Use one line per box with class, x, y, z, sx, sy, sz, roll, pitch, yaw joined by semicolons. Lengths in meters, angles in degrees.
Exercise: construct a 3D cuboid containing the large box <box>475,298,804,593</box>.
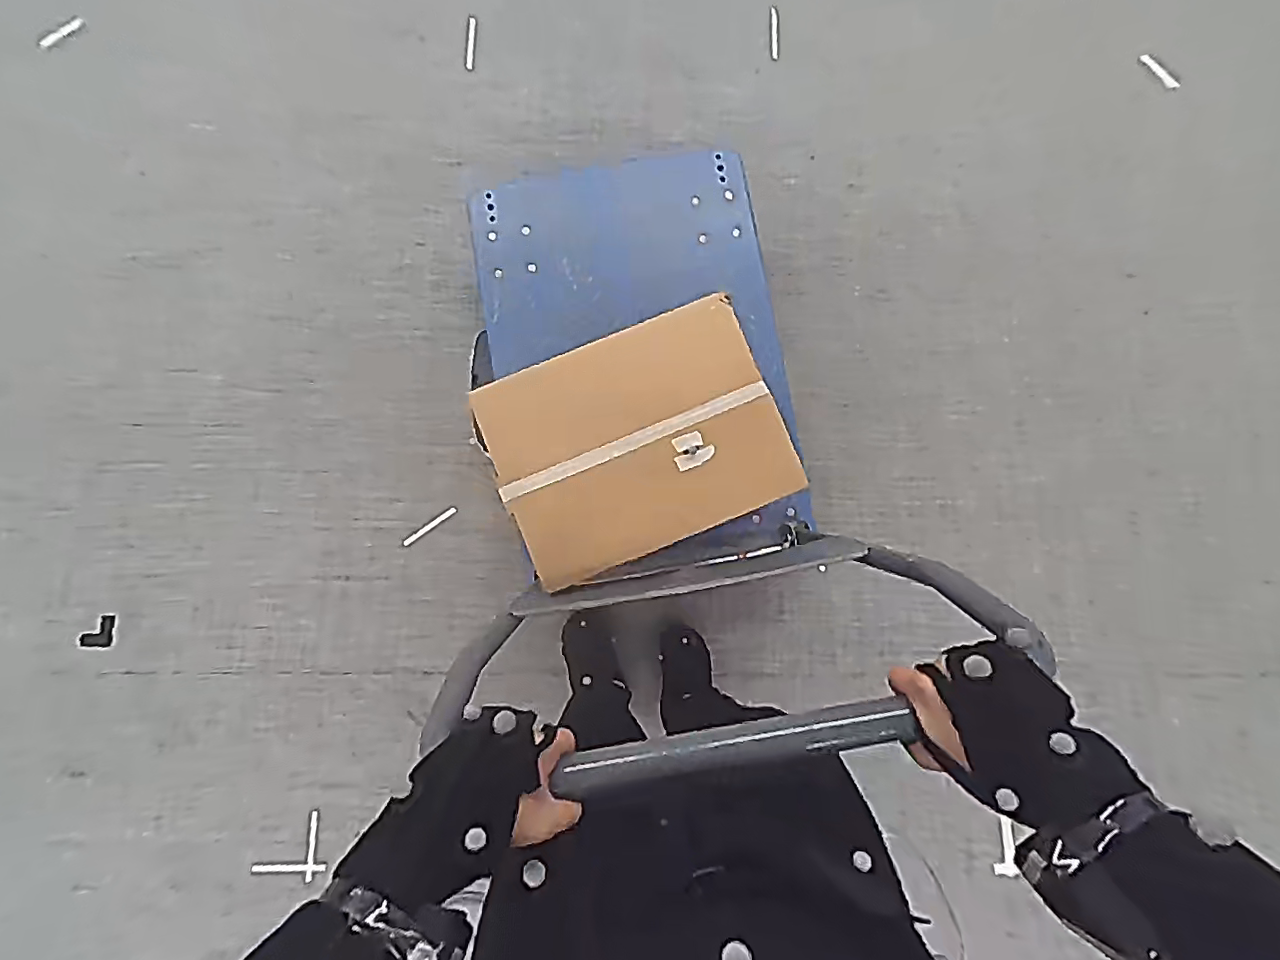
large box;-0.004;-0.040;0.927;0.408;0.320;0.320;-23;86;-3
